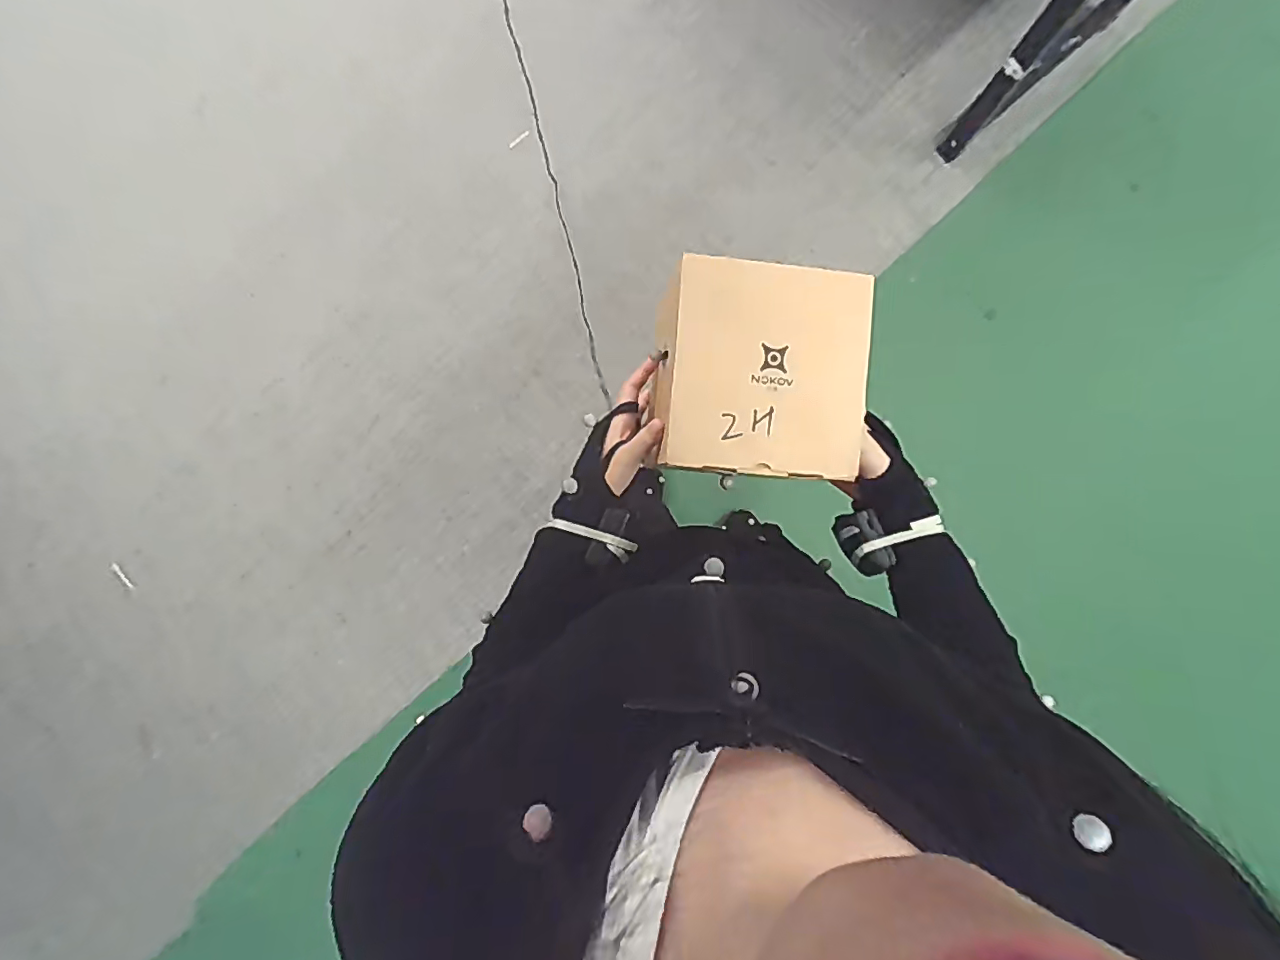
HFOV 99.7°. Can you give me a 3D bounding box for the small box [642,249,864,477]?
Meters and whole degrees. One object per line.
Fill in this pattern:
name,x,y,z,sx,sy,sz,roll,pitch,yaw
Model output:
small box,0.095,-0.097,0.528,0.168,0.176,0.179,5,90,-5
